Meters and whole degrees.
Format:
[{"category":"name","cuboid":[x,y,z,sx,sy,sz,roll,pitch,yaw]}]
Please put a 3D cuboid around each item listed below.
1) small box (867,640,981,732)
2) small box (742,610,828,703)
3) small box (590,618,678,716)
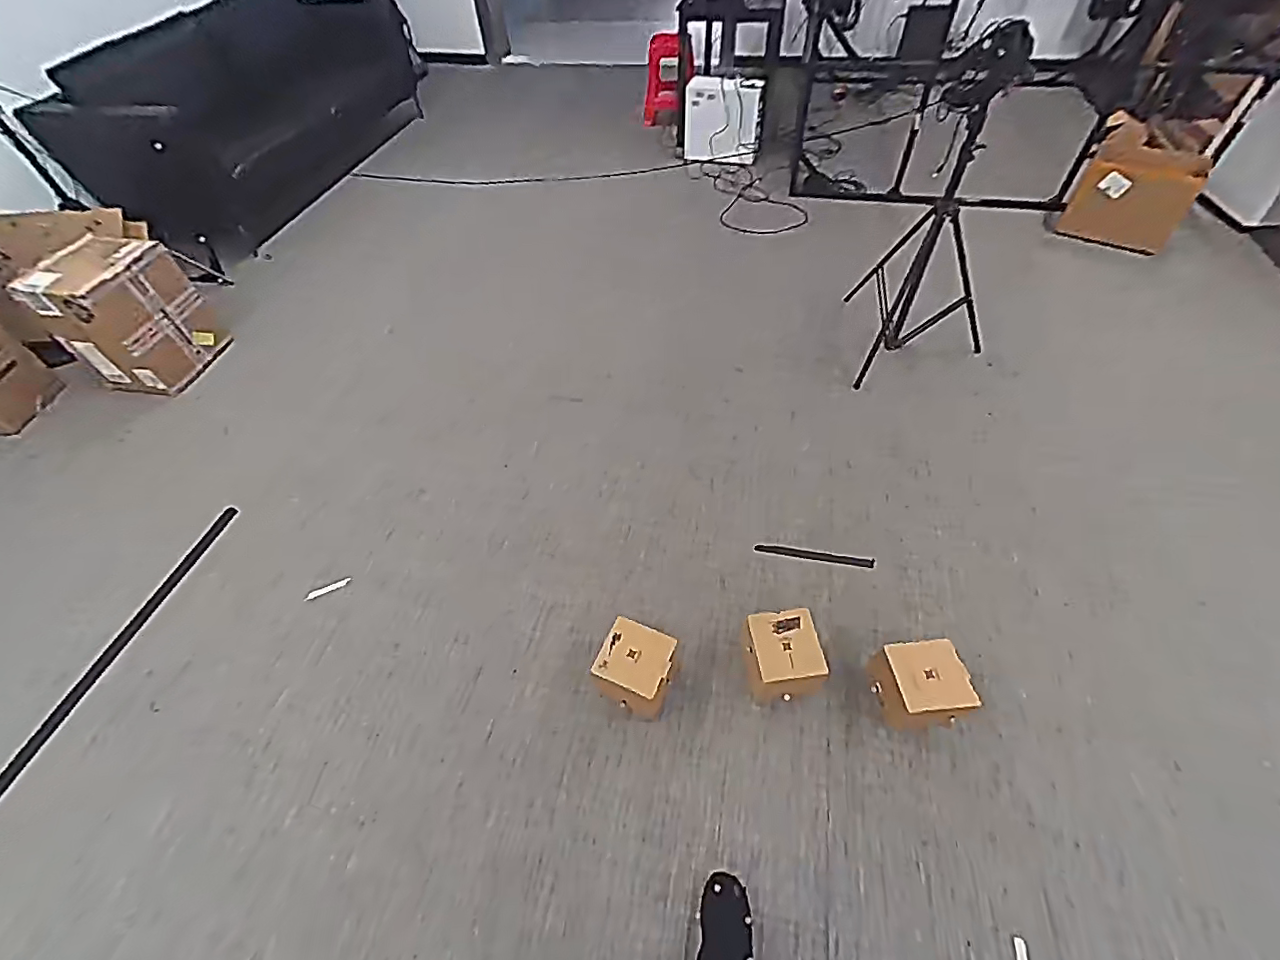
[{"category":"small box","cuboid":[0.700,0.519,1.357,0.179,0.176,0.168,-7,50,-1]},{"category":"small box","cuboid":[0.370,0.464,1.419,0.168,0.176,0.179,-7,52,-2]},{"category":"small box","cuboid":[-0.010,0.496,1.420,0.179,0.176,0.168,19,55,18]}]
